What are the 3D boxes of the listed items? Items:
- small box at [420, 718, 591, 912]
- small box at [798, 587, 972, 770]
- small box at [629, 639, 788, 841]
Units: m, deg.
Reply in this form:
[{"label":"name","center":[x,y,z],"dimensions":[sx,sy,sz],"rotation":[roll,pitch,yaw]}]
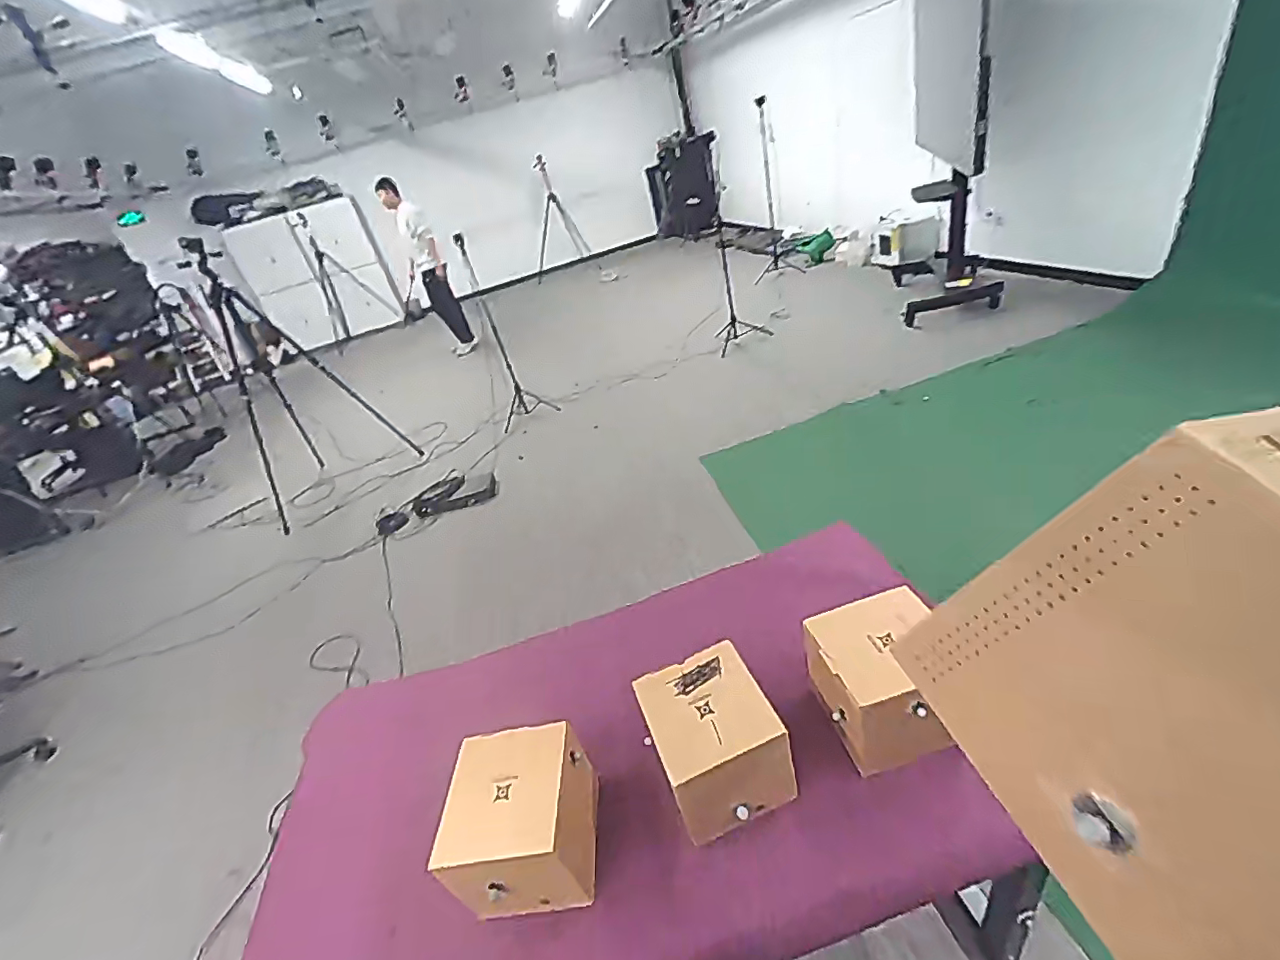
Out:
[{"label":"small box","center":[-0.173,0.474,0.761],"dimensions":[0.168,0.176,0.179],"rotation":[-12,31,6]},{"label":"small box","center":[0.358,0.296,0.806],"dimensions":[0.179,0.176,0.168],"rotation":[-17,31,-2]},{"label":"small box","center":[0.099,0.377,0.793],"dimensions":[0.168,0.176,0.179],"rotation":[-21,32,-9]}]
